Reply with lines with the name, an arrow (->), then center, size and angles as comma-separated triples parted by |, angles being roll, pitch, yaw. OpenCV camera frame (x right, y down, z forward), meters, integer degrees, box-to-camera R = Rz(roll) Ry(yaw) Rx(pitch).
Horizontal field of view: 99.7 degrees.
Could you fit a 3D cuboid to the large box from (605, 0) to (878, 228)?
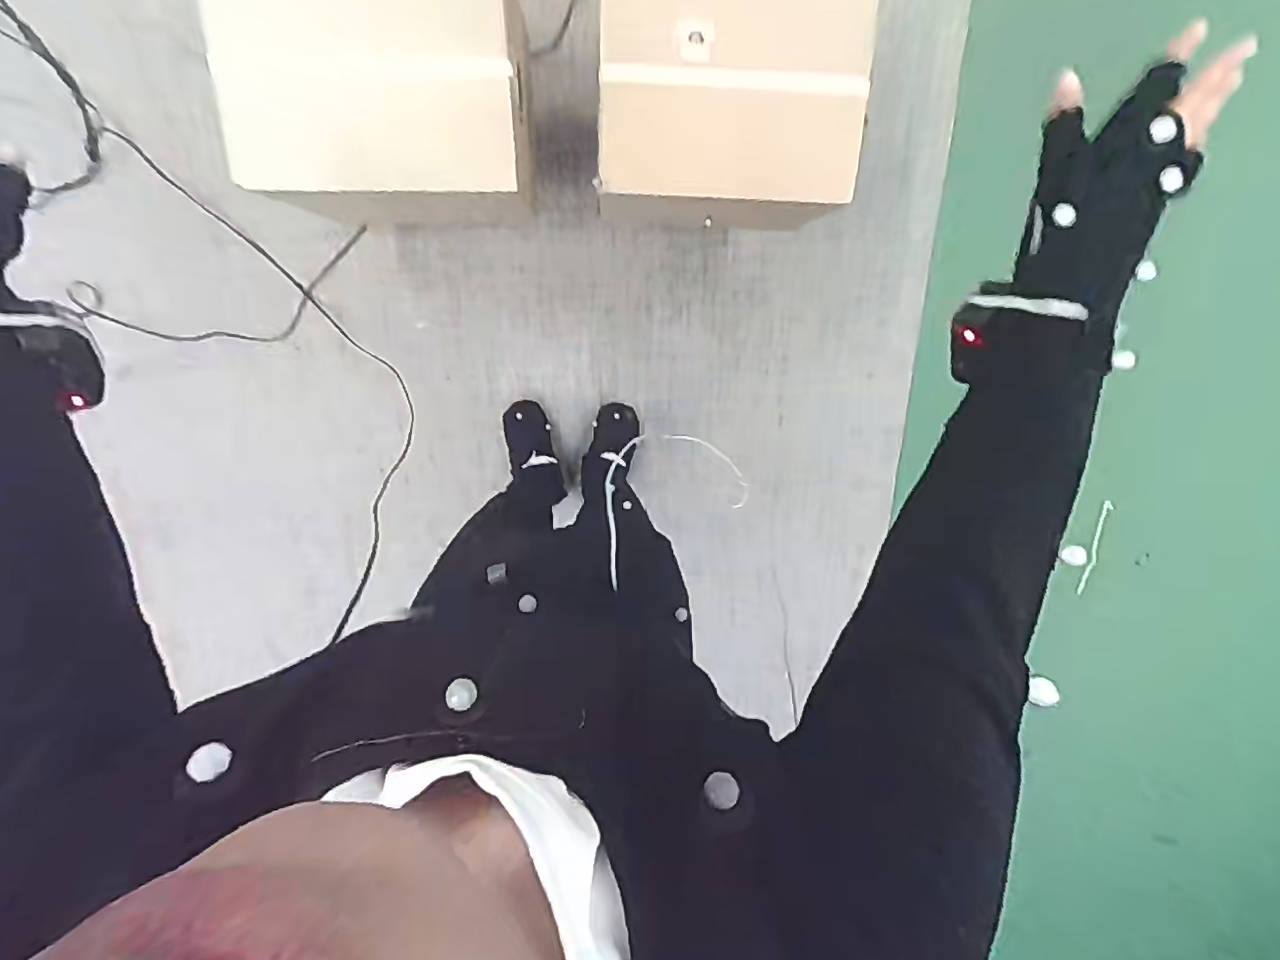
large box -> 0.143, -0.638, 0.961 | 0.408, 0.320, 0.320 | 1, 107, -4
